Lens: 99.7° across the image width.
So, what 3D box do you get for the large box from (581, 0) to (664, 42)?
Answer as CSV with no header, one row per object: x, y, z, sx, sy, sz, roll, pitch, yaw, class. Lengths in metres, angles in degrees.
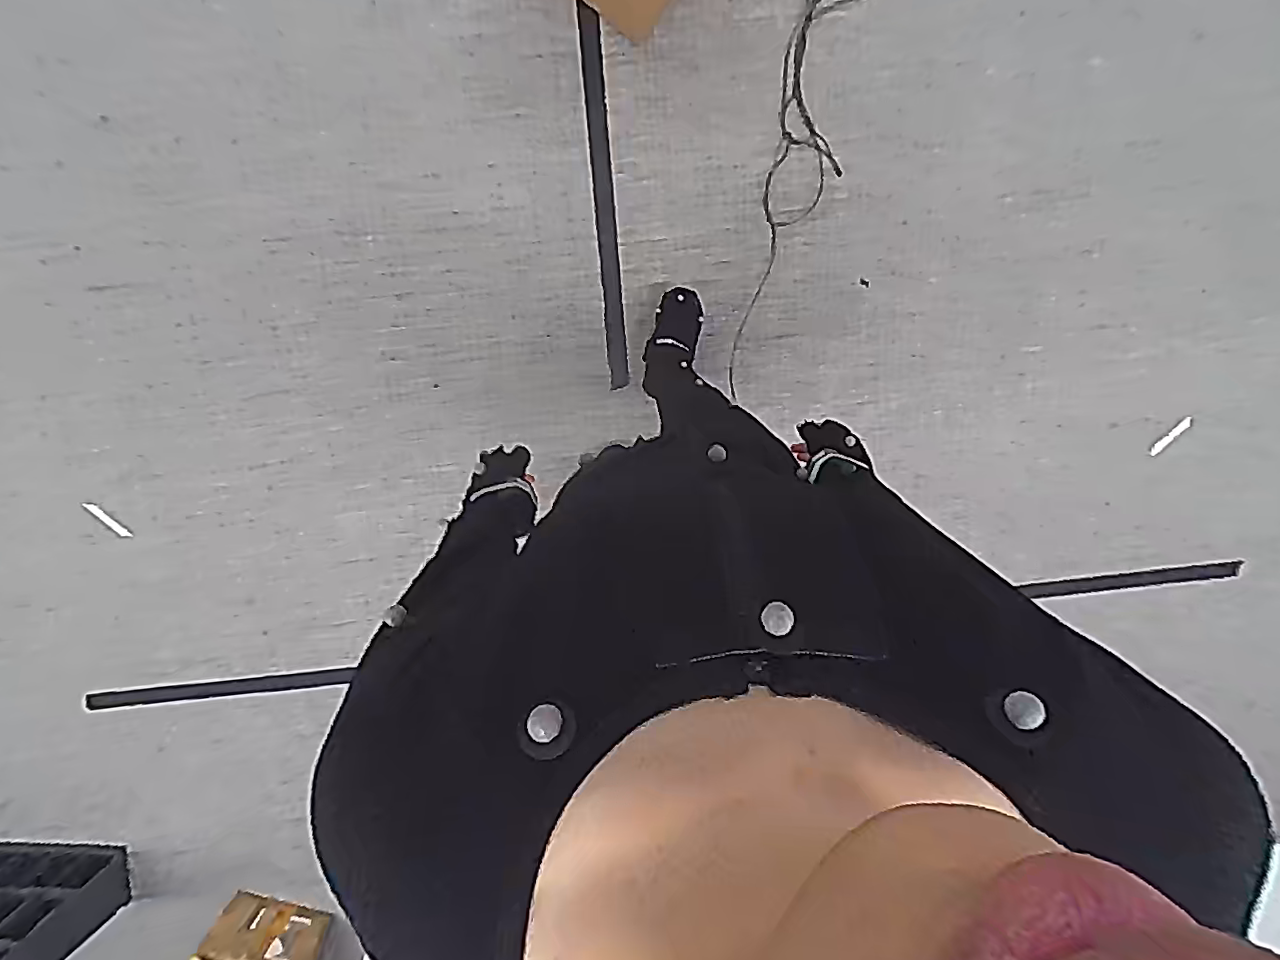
-0.079,-1.225,1.079,0.408,0.320,0.320,33,99,-9,large box
